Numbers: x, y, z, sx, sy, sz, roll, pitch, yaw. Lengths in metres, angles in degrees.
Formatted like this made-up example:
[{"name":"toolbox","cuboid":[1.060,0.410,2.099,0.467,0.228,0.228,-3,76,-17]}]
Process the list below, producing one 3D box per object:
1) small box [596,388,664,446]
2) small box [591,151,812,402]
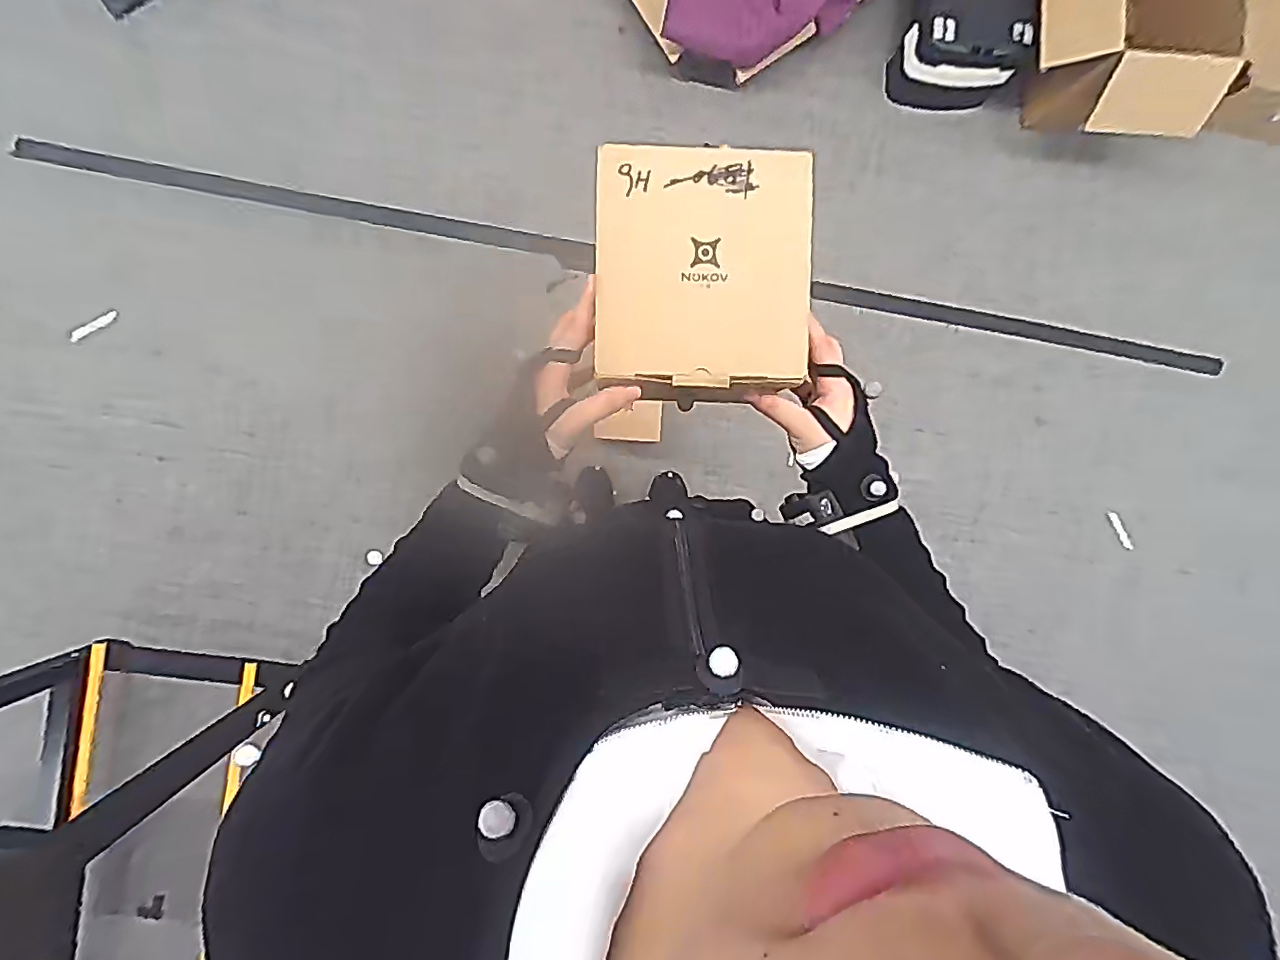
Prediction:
[{"name":"small box","cuboid":[-0.026,-0.182,1.413,0.168,0.176,0.179,3,93,-2]},{"name":"small box","cuboid":[0.045,-0.164,0.491,0.168,0.176,0.179,1,93,-2]}]
